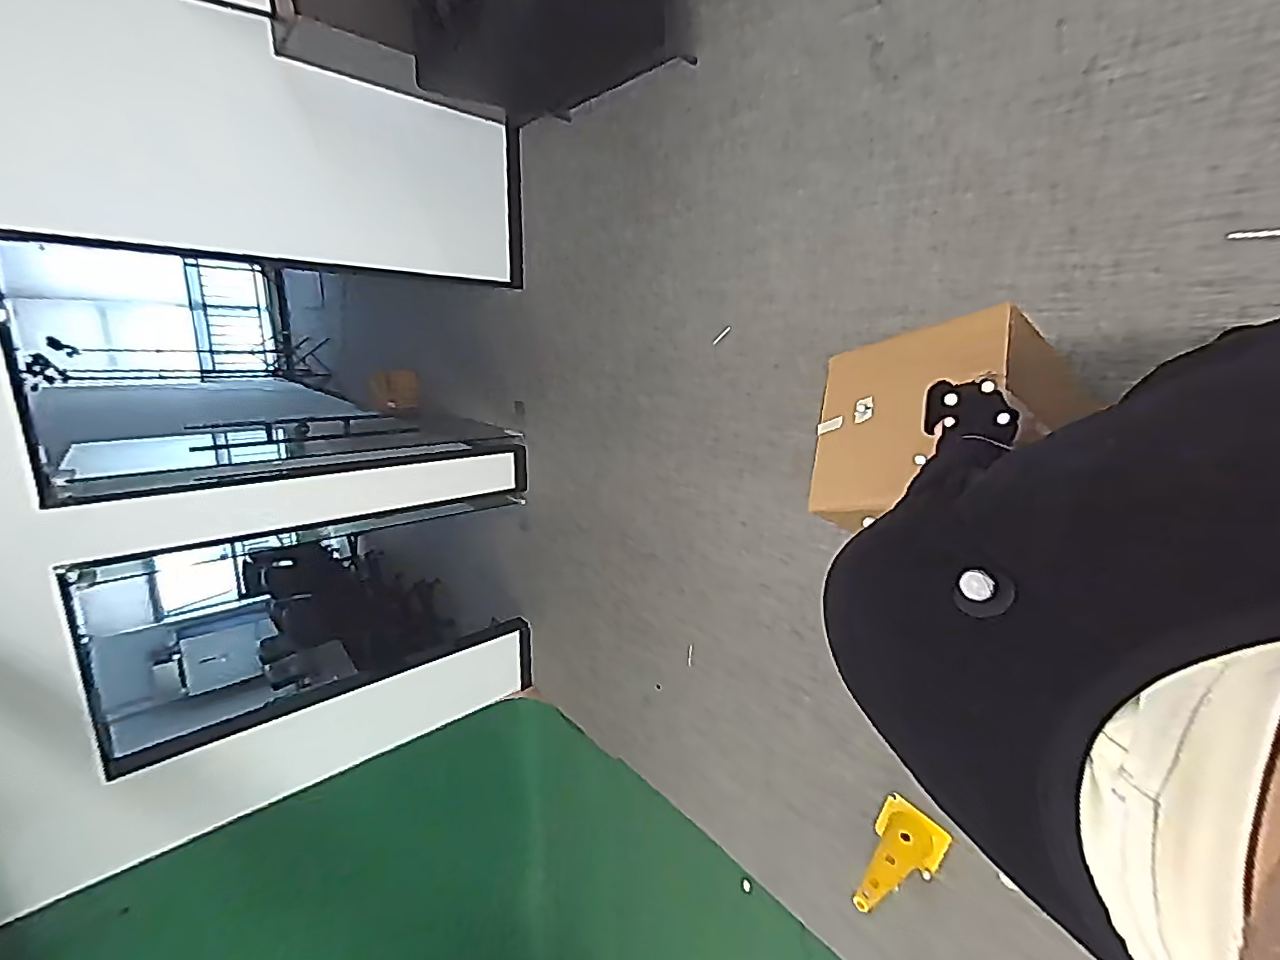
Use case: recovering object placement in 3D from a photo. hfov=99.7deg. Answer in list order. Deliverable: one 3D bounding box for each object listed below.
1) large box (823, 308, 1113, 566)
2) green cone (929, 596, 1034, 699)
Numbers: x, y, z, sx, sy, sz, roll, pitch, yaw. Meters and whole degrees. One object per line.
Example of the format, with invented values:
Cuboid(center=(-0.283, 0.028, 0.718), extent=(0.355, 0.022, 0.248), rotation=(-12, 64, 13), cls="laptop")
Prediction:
Cuboid(center=(0.587, -0.039, 0.977), extent=(0.320, 0.408, 0.320), rotation=(-8, 65, 54), cls="large box")
Cuboid(center=(0.857, 0.480, 1.433), extent=(0.200, 0.368, 0.202), rotation=(25, 118, 44), cls="green cone")
